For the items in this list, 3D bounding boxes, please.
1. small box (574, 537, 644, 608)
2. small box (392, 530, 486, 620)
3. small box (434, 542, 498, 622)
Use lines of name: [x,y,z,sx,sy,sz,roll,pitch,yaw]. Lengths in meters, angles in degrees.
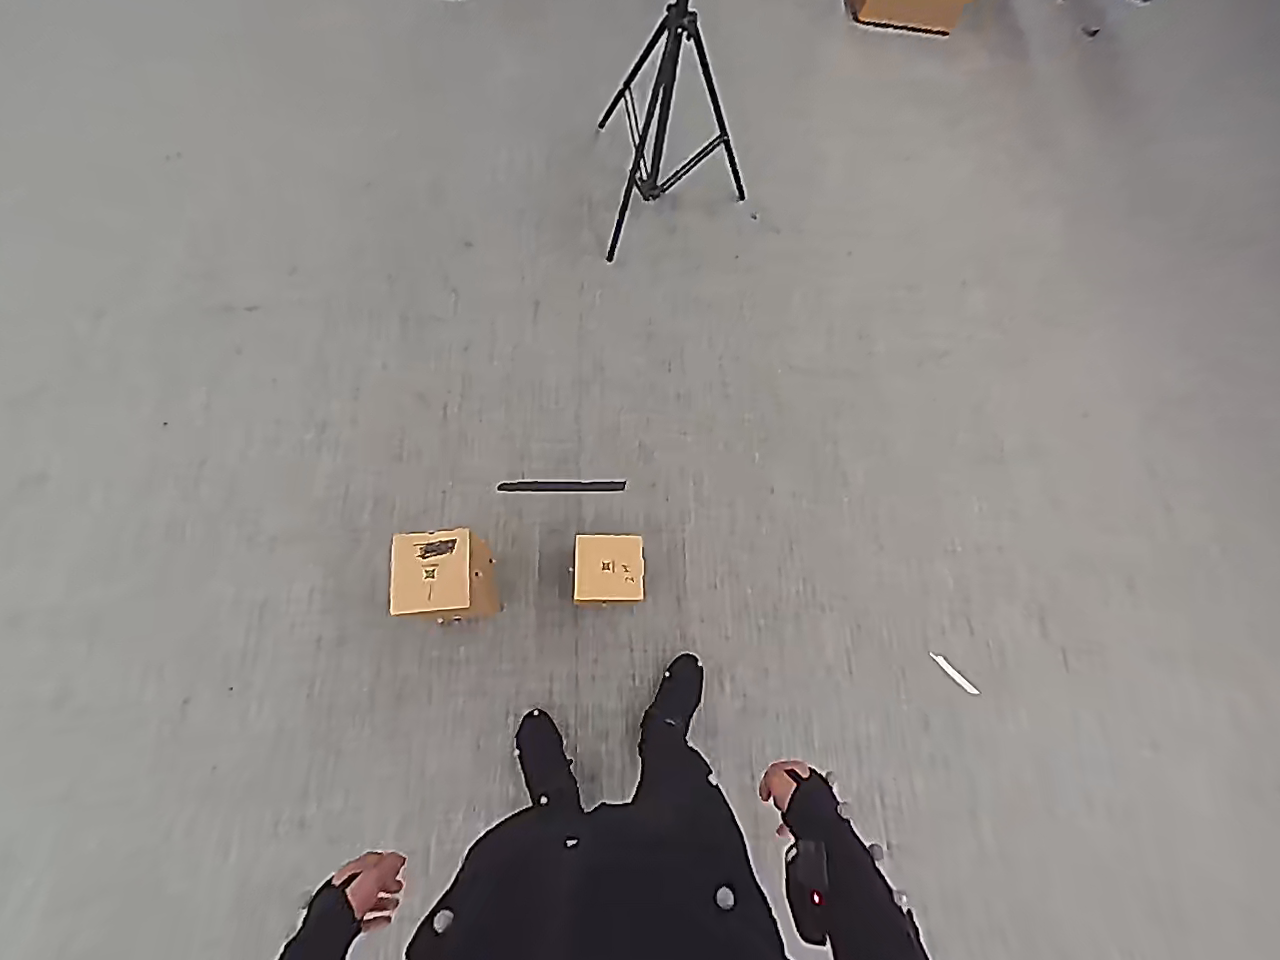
small box: [-0.085,0.252,1.447,0.179,0.176,0.168,2,72,-7]
small box: [-0.453,0.222,1.242,0.168,0.176,0.179,-3,73,-7]
small box: [-0.463,0.267,1.400,0.168,0.176,0.179,-5,73,-7]
